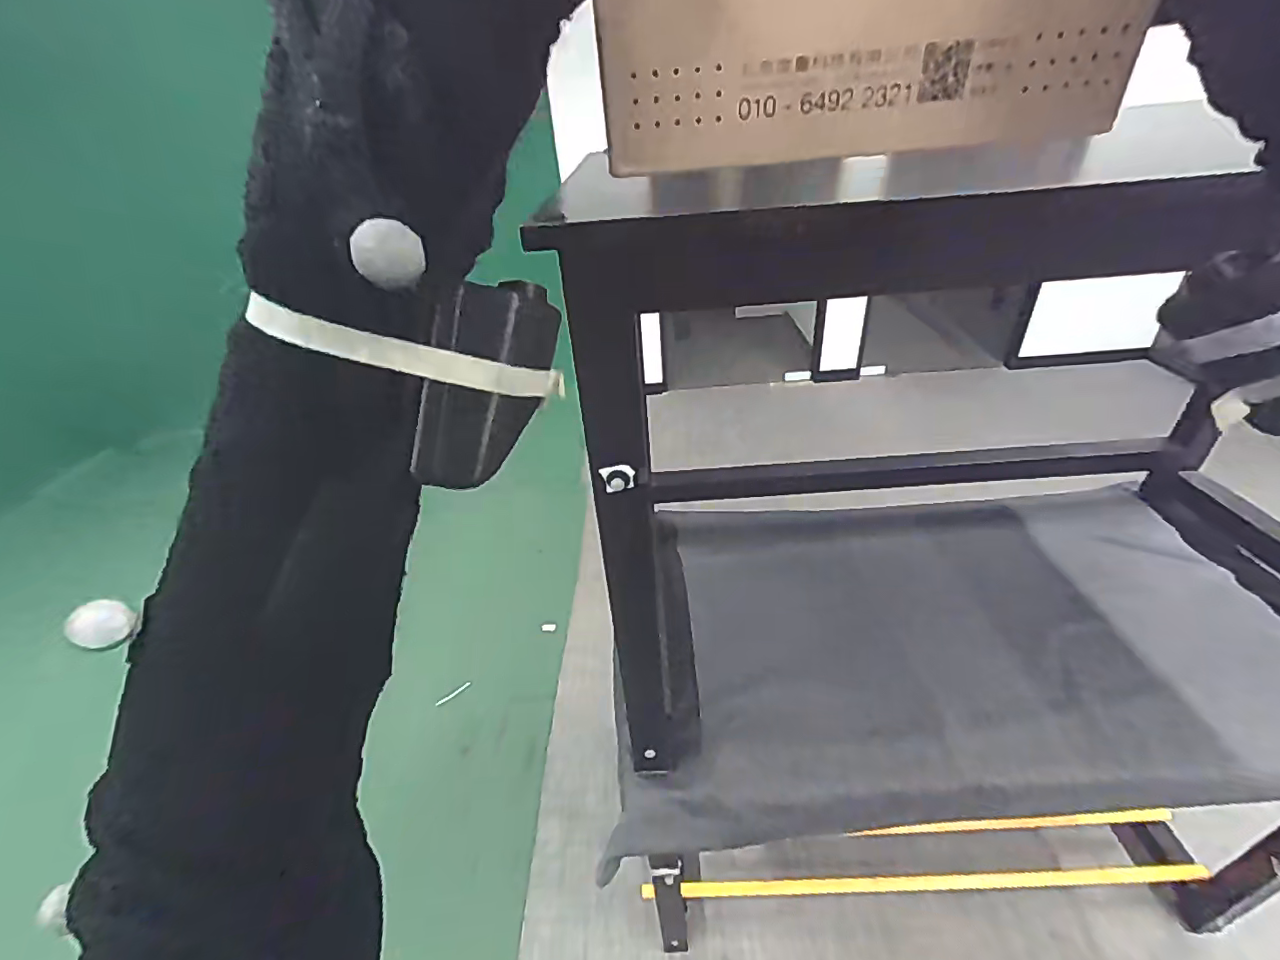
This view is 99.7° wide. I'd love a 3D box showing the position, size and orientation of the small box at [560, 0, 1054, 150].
[{"bbox_3d":[0.050,-0.234,0.211,0.168,0.176,0.179,-4,35,1],"label":"small box"}]
